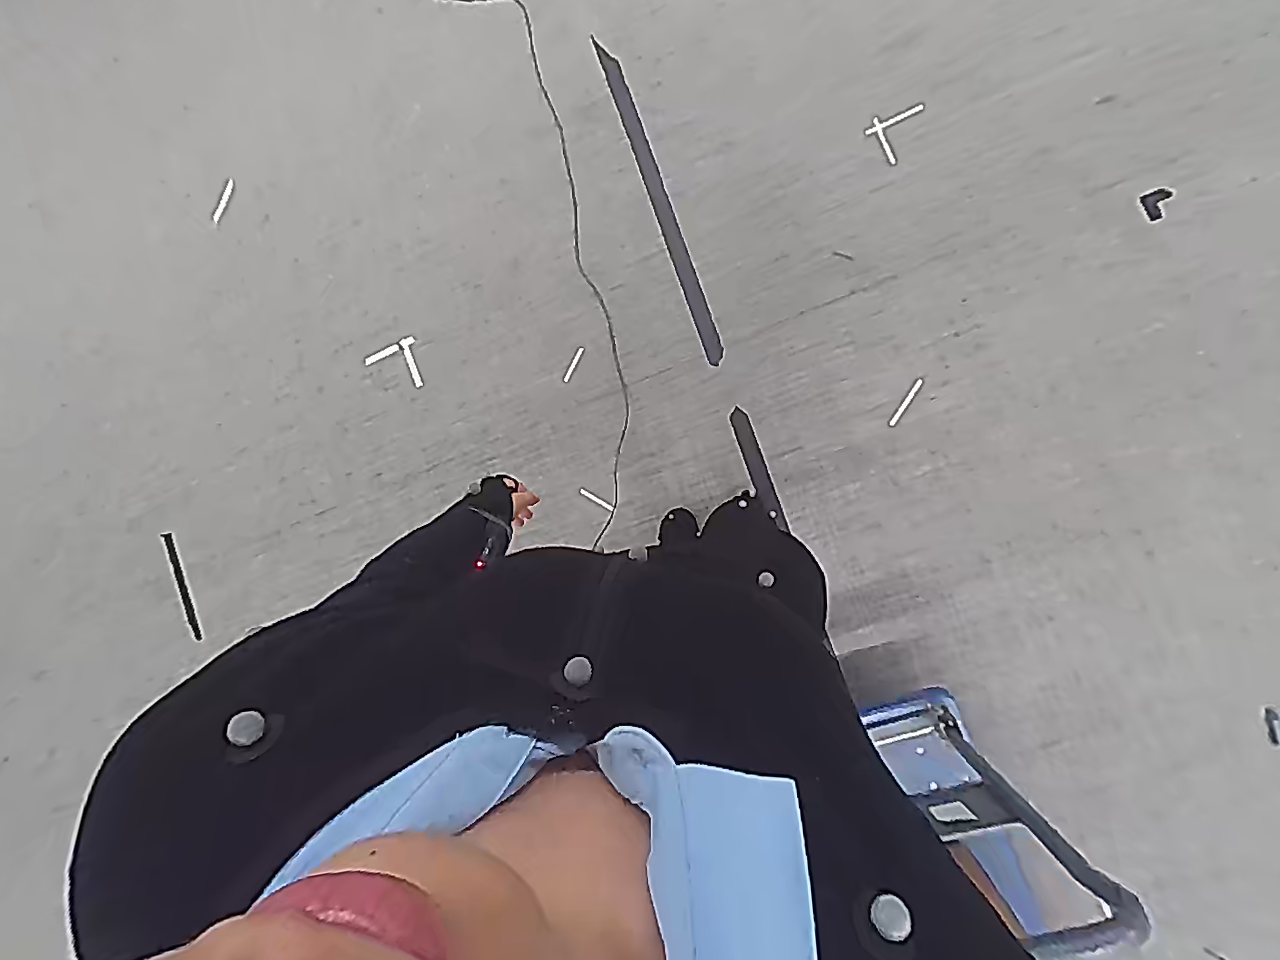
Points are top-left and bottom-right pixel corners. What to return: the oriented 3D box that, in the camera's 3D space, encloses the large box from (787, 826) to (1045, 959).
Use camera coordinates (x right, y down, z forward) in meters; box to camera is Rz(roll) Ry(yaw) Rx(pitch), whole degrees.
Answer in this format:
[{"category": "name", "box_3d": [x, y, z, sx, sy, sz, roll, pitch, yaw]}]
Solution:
[{"category": "large box", "box_3d": [0.551, 0.971, 1.075, 0.408, 0.320, 0.320, -19, 86, 7]}]
